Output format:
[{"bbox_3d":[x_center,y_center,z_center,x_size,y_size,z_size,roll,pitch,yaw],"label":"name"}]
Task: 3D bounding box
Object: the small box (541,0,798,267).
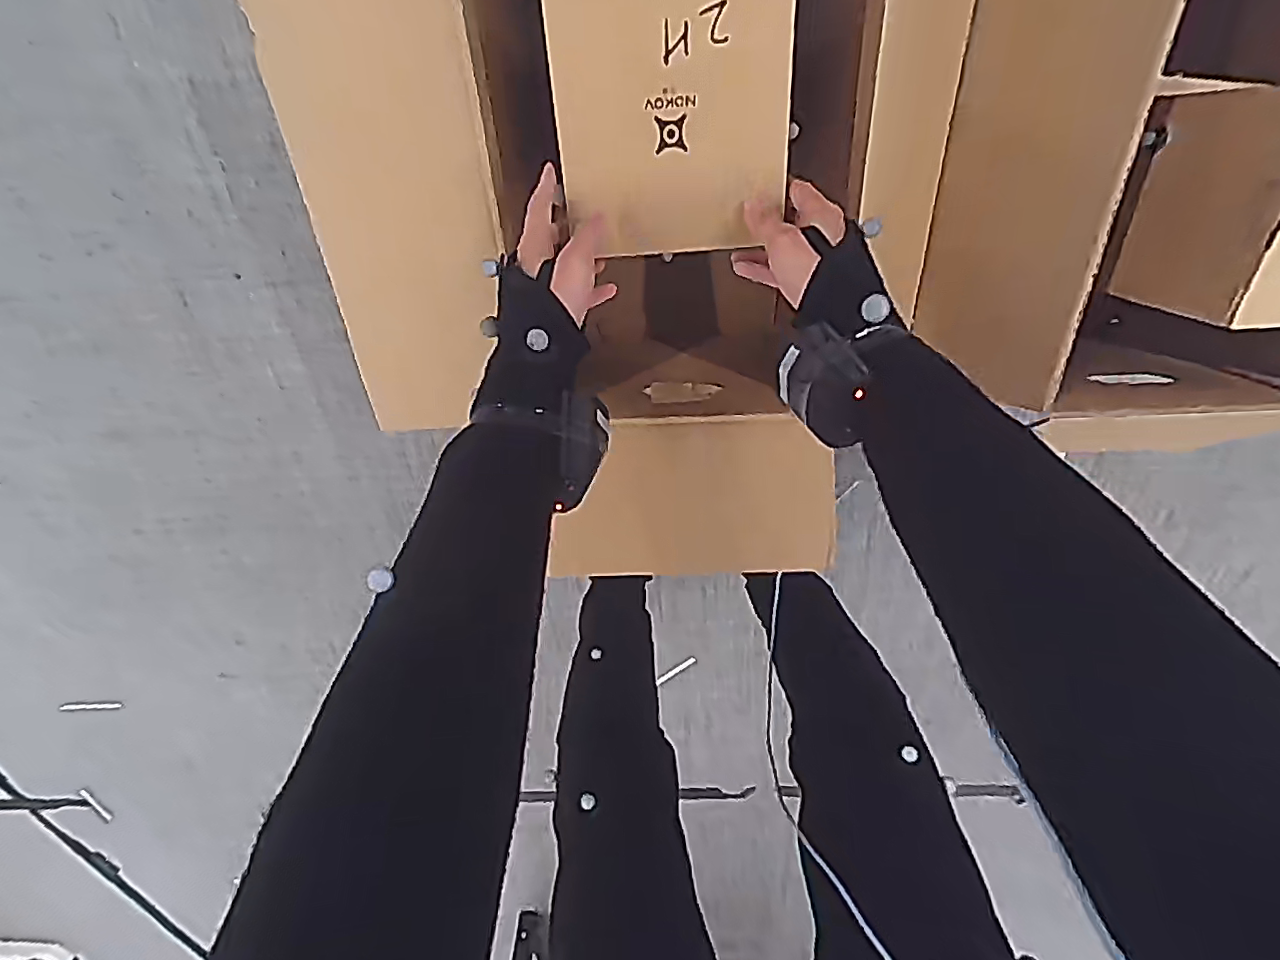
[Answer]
[{"bbox_3d":[0.024,-0.283,0.443,0.168,0.176,0.179,-3,119,3],"label":"small box"}]
